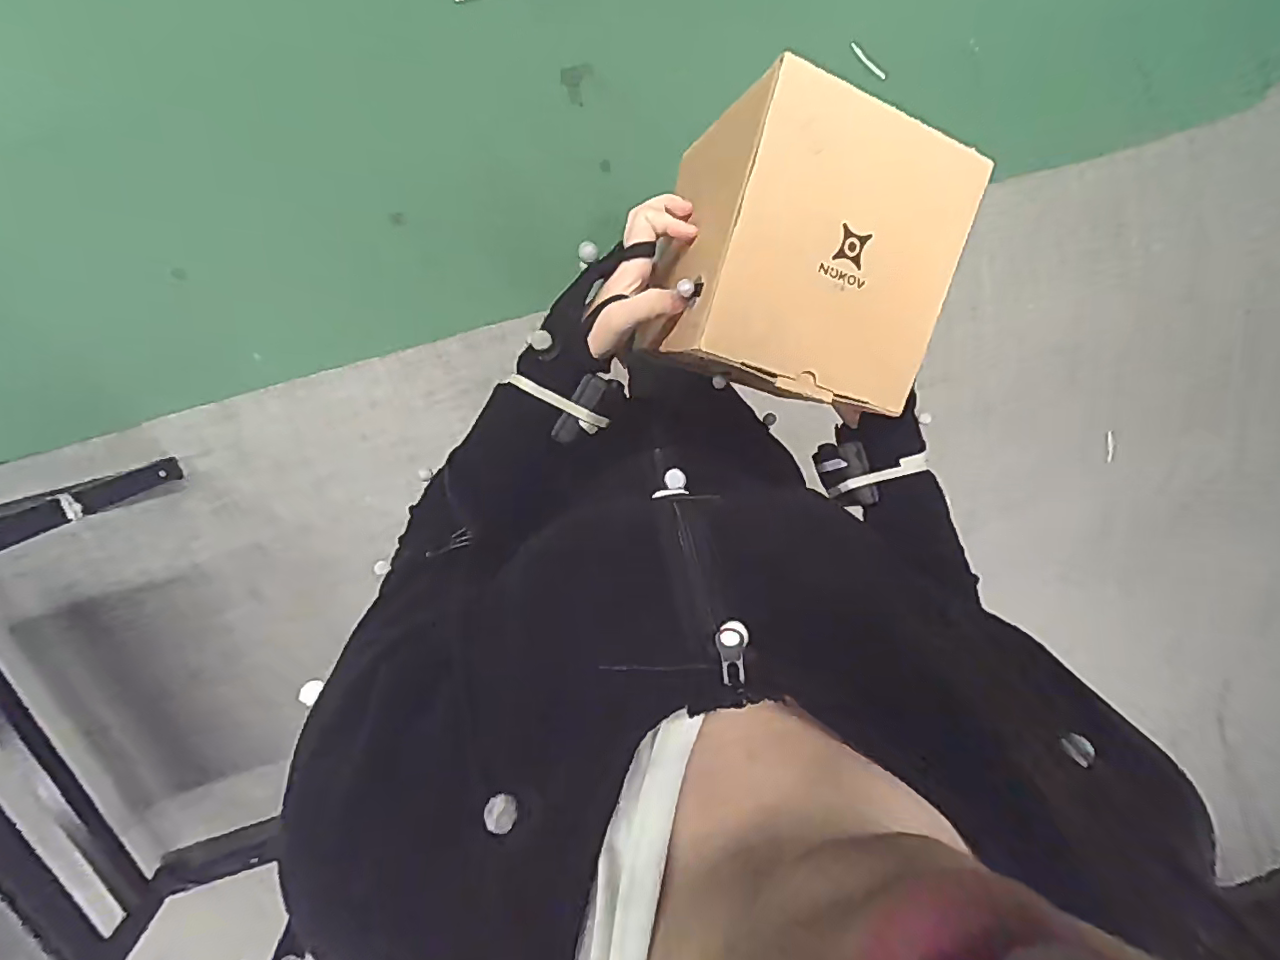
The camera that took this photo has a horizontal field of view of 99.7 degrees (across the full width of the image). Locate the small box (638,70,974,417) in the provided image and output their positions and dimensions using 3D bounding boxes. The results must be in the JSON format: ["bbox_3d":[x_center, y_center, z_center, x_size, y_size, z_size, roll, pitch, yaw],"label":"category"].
[{"bbox_3d":[0.110,-0.162,0.430,0.168,0.176,0.179,12,100,-18],"label":"small box"}]
